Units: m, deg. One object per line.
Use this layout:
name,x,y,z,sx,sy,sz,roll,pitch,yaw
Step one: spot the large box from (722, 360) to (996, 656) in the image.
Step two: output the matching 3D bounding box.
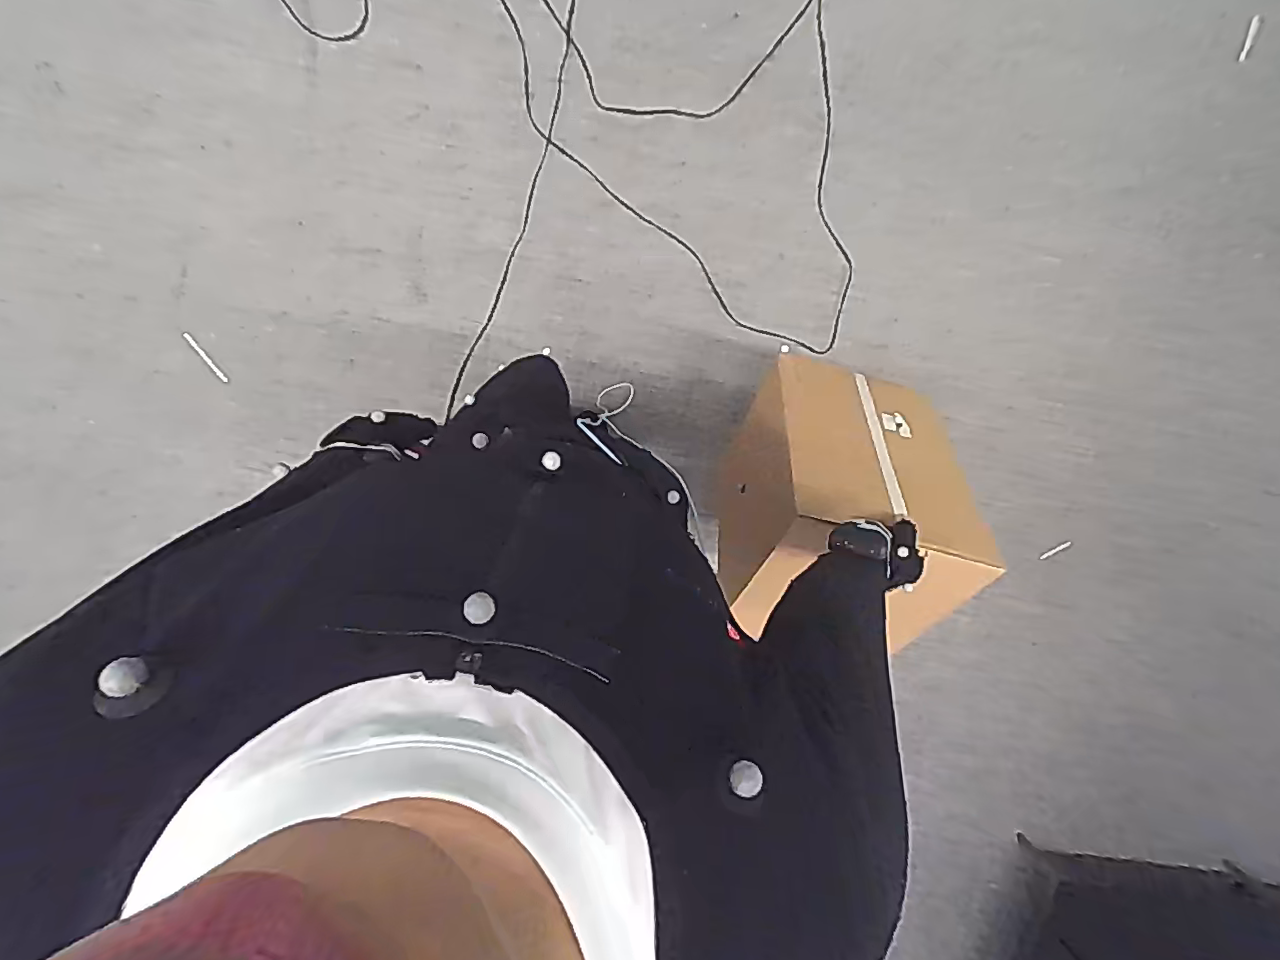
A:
large box,0.344,0.049,0.991,0.320,0.408,0.320,15,135,-6
